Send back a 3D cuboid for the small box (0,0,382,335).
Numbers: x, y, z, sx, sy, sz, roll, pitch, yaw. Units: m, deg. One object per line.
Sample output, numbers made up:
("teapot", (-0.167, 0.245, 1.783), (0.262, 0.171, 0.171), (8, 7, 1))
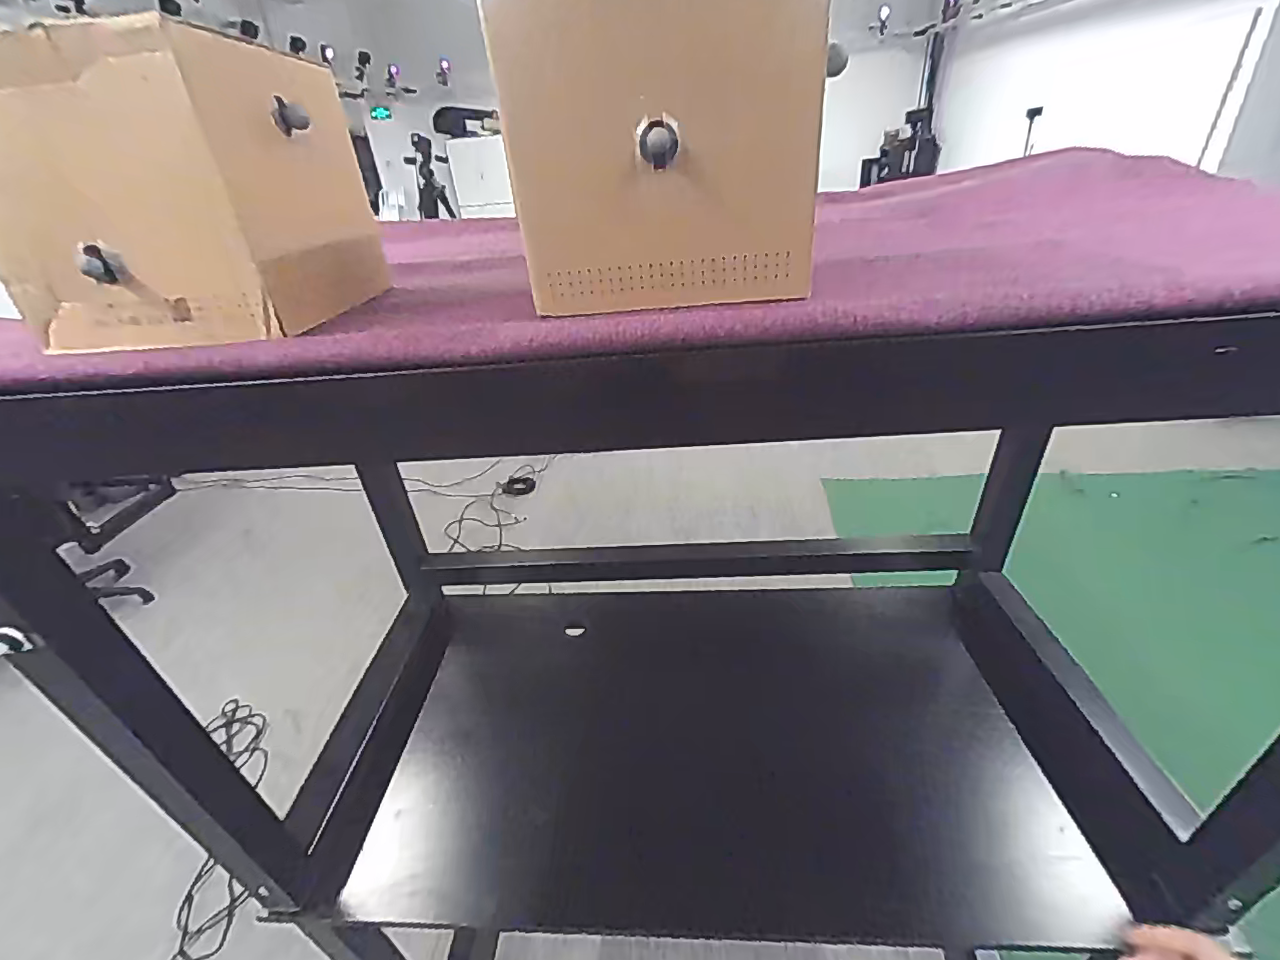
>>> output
("small box", (-0.310, -0.208, 0.383), (0.168, 0.176, 0.179), (-3, 31, 2))
